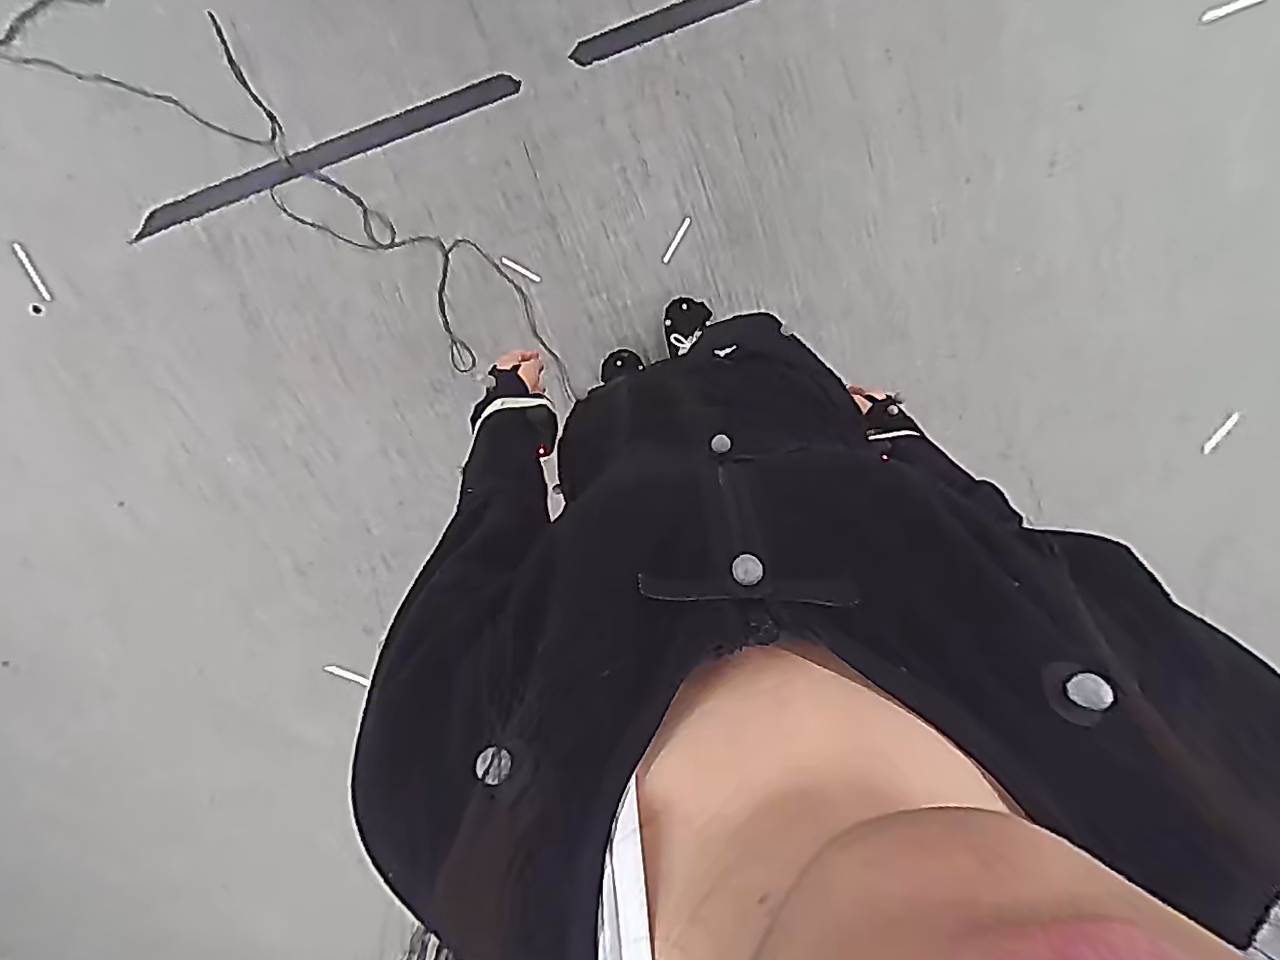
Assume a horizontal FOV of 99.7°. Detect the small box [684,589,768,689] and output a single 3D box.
[{"bbox_3d":[0.234,0.436,1.502,0.168,0.176,0.179,-25,104,5],"label":"small box"}]
